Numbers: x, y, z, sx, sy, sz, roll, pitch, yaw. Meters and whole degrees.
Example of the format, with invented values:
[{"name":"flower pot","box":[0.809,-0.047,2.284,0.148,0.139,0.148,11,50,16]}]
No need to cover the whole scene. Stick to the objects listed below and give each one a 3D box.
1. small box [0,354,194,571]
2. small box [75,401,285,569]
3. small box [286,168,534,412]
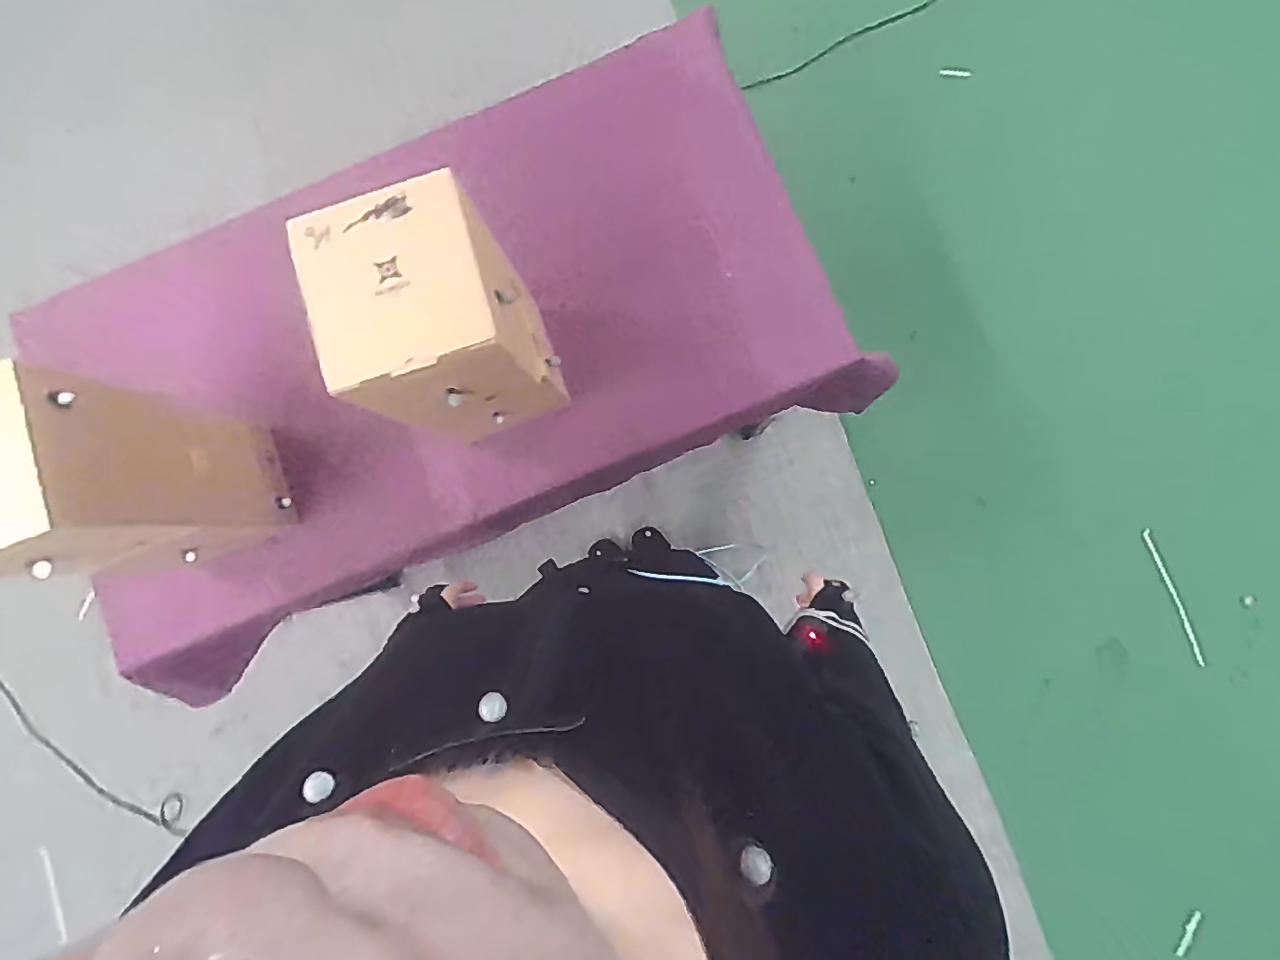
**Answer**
[{"name":"small box","box":[-0.635,-0.006,0.582,0.168,0.176,0.179,-20,84,1]},{"name":"small box","box":[-0.630,0.010,0.743,0.179,0.176,0.168,-21,85,1]},{"name":"small box","box":[-0.226,-0.180,0.576,0.168,0.176,0.179,-17,86,1]}]
